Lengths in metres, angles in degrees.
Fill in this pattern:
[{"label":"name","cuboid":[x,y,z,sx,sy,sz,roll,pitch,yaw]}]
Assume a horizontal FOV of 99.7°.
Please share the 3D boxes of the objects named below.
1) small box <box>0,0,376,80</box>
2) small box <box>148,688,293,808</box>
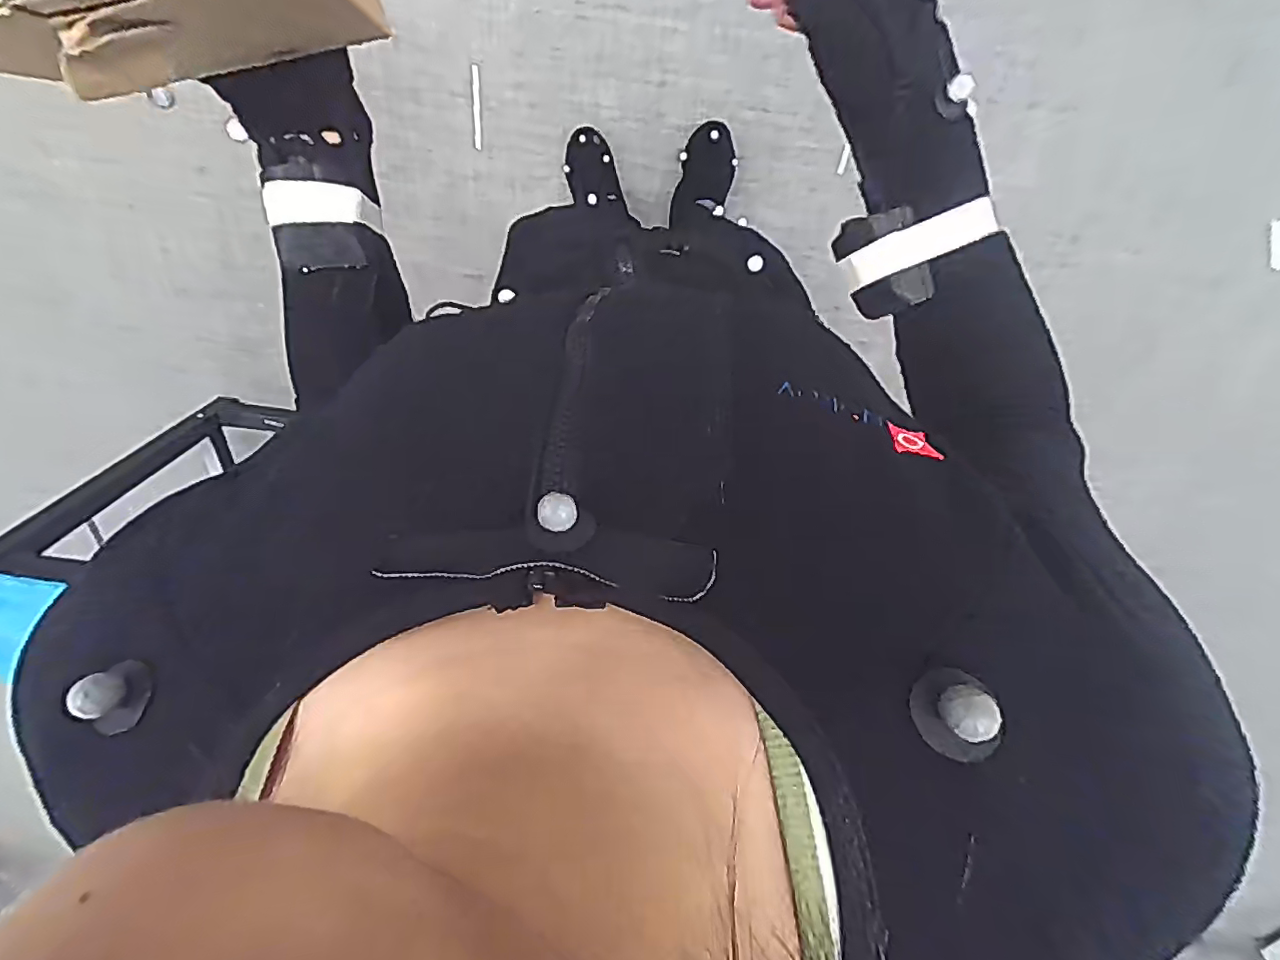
[{"label":"small box","cuboid":[-0.236,-0.284,0.218,0.168,0.176,0.179,-15,121,-3]},{"label":"small box","cuboid":[-0.913,0.594,1.201,0.168,0.176,0.179,7,125,0]}]
